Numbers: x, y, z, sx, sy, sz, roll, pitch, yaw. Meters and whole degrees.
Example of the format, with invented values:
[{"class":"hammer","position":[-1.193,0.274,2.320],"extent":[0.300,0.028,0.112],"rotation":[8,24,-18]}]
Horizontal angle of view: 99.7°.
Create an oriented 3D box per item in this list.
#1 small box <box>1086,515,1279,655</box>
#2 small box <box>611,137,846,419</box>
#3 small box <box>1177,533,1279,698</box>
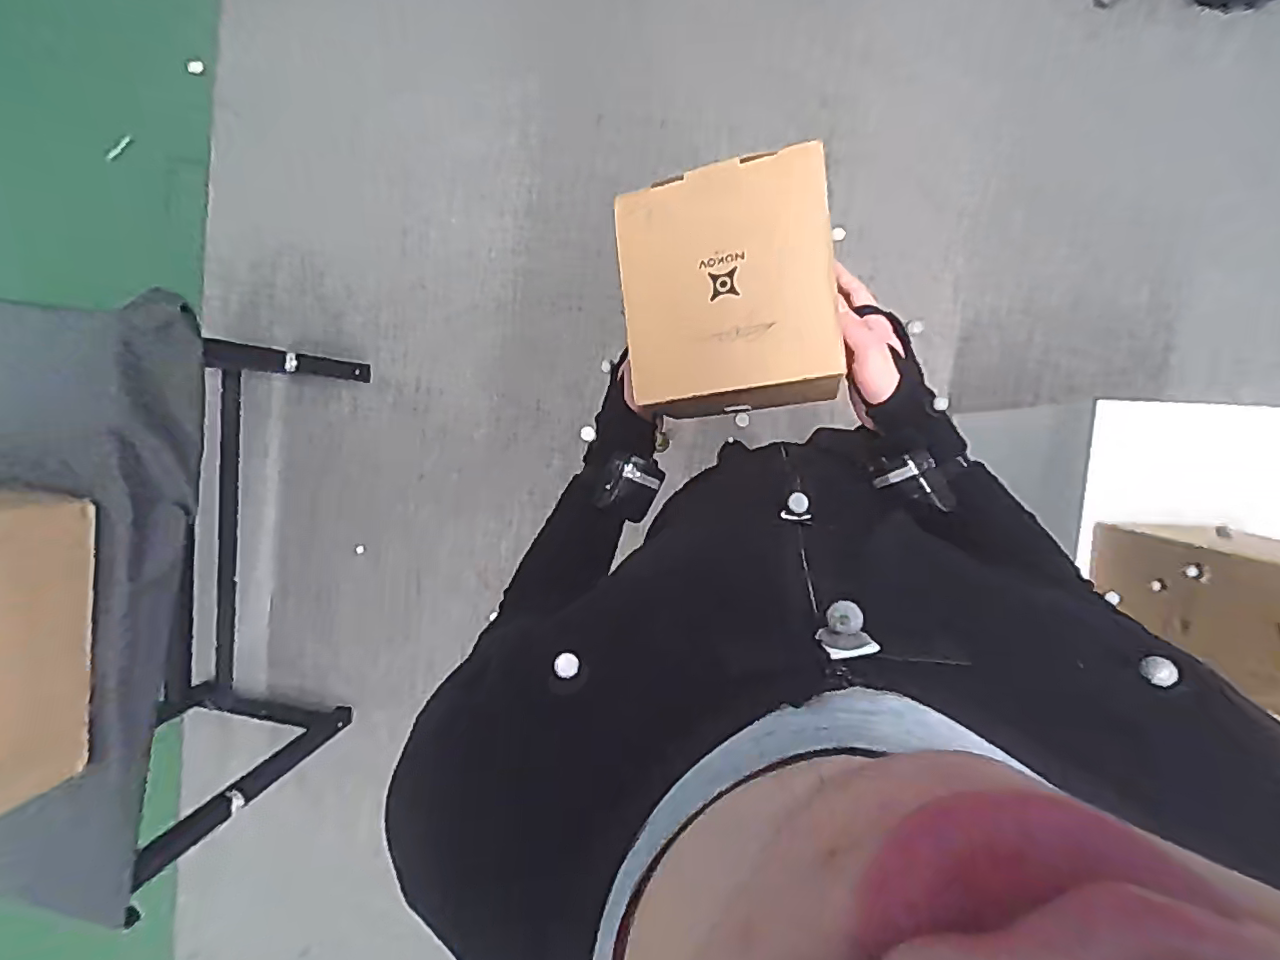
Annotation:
[{"class":"small box","position":[0.795,0.143,0.773],"extent":[0.179,0.176,0.168],"rotation":[1,94,7]},{"class":"small box","position":[0.086,-0.159,0.493],"extent":[0.168,0.176,0.179],"rotation":[-8,89,18]},{"class":"small box","position":[0.772,0.157,0.610],"extent":[0.179,0.176,0.168],"rotation":[1,95,7]}]
